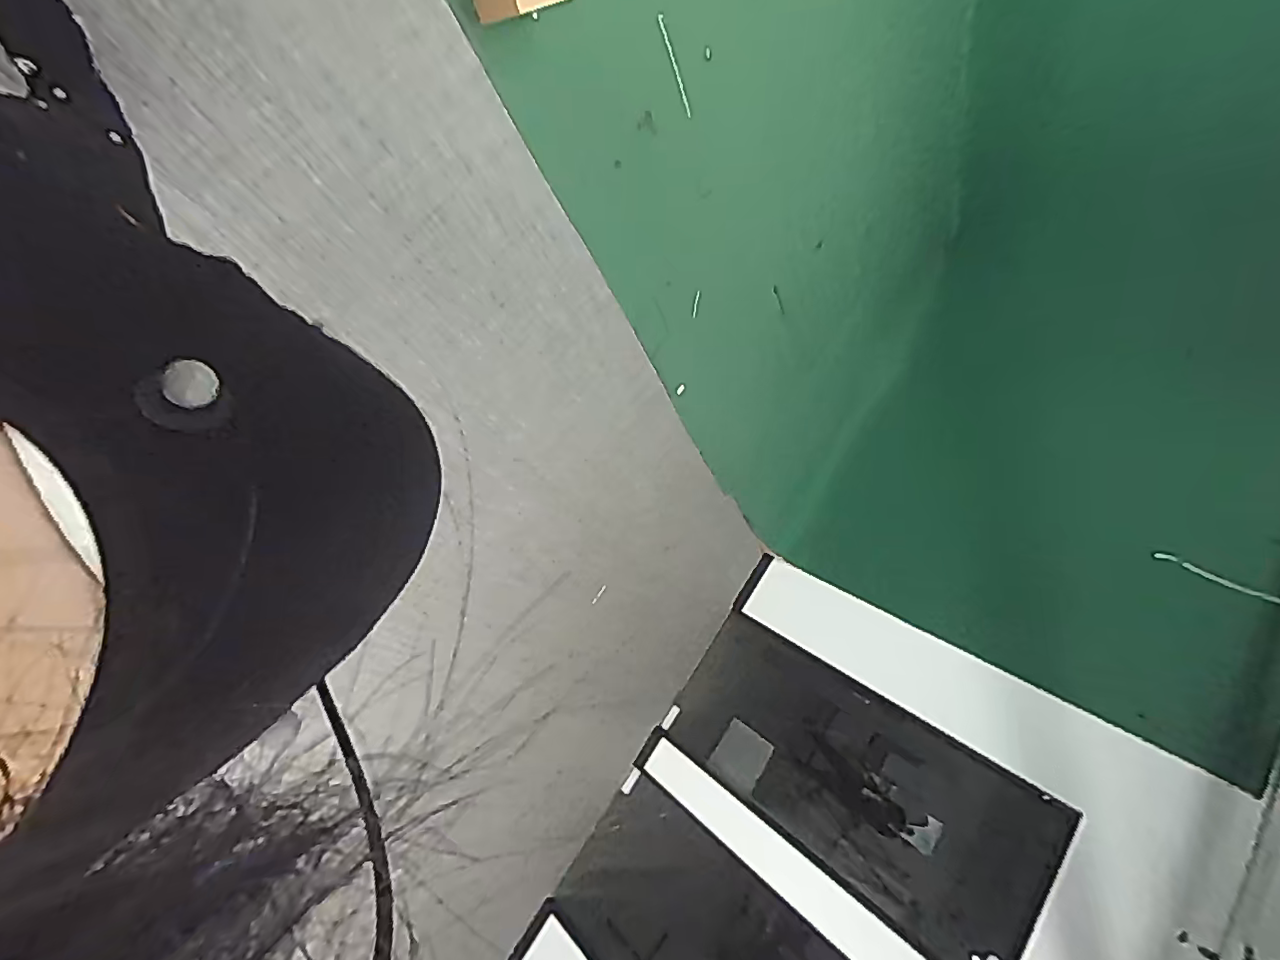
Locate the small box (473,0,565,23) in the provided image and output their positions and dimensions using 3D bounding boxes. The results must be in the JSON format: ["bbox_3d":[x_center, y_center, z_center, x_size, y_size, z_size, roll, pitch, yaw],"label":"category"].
[{"bbox_3d":[-0.303,-1.211,1.277,0.179,0.176,0.168,-43,140,-26],"label":"small box"}]
